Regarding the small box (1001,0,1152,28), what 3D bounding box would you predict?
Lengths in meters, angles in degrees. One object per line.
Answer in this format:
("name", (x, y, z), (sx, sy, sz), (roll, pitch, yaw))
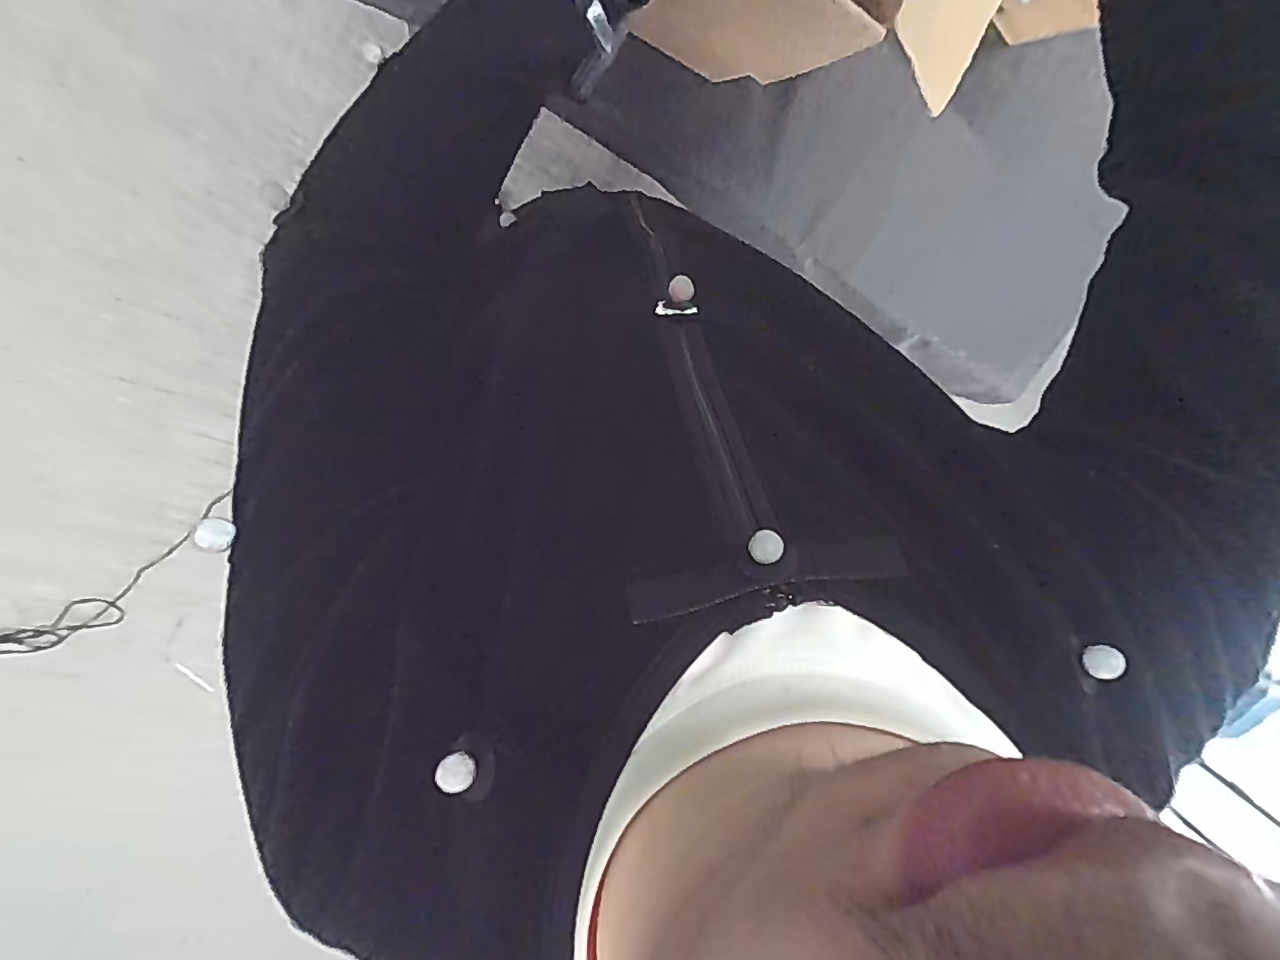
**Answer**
("small box", (0.510, -0.652, 0.597), (0.168, 0.176, 0.179), (21, 112, -30))
